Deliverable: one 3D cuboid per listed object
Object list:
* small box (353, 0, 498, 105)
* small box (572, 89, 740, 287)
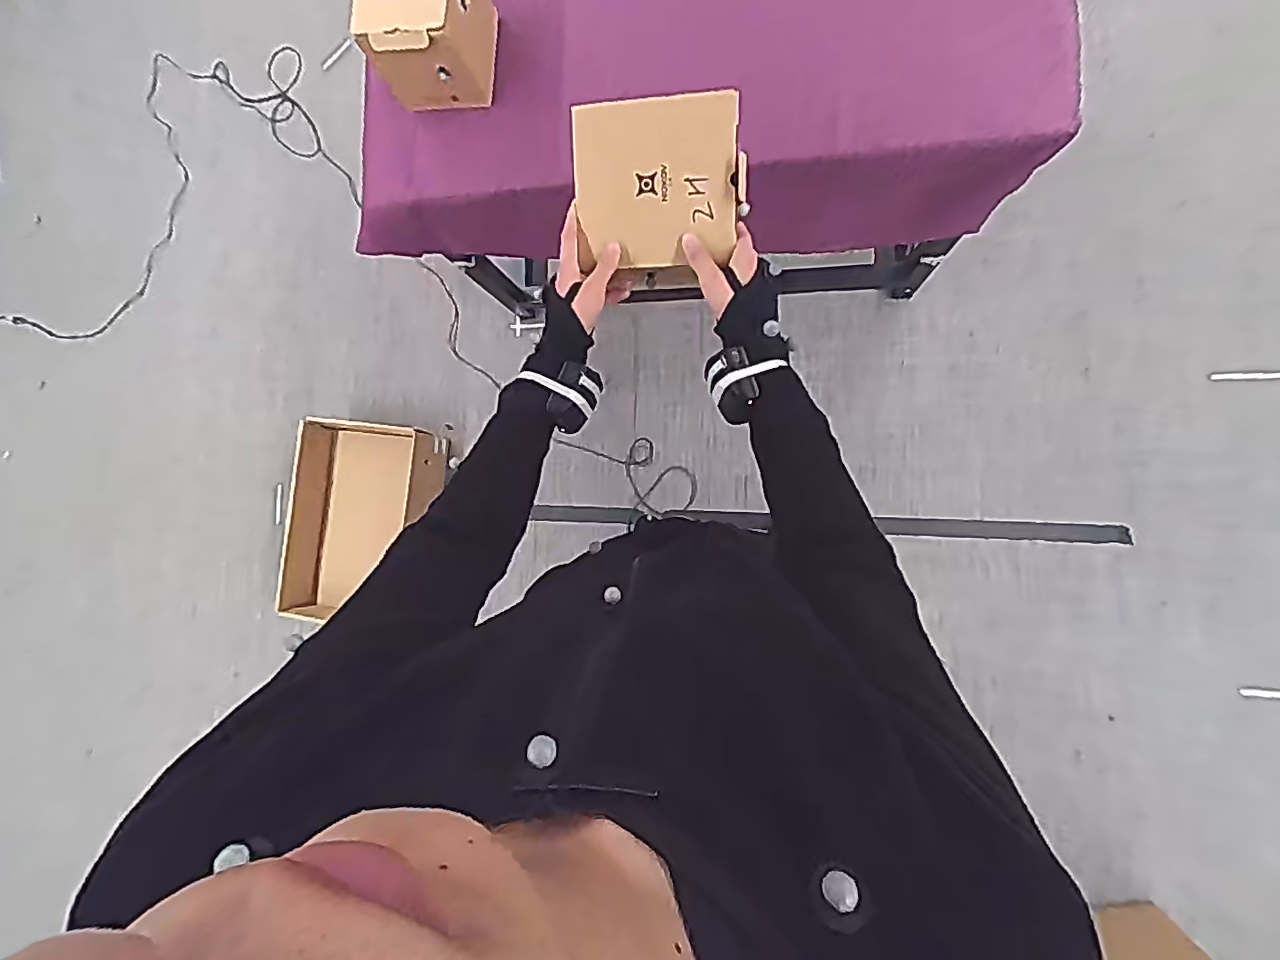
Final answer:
[{"bbox_3d":[-0.358,-0.782,0.930,0.168,0.176,0.179,5,88,9],"label":"small box"},{"bbox_3d":[0.027,-0.328,0.644,0.179,0.176,0.168,1,103,8],"label":"small box"}]
